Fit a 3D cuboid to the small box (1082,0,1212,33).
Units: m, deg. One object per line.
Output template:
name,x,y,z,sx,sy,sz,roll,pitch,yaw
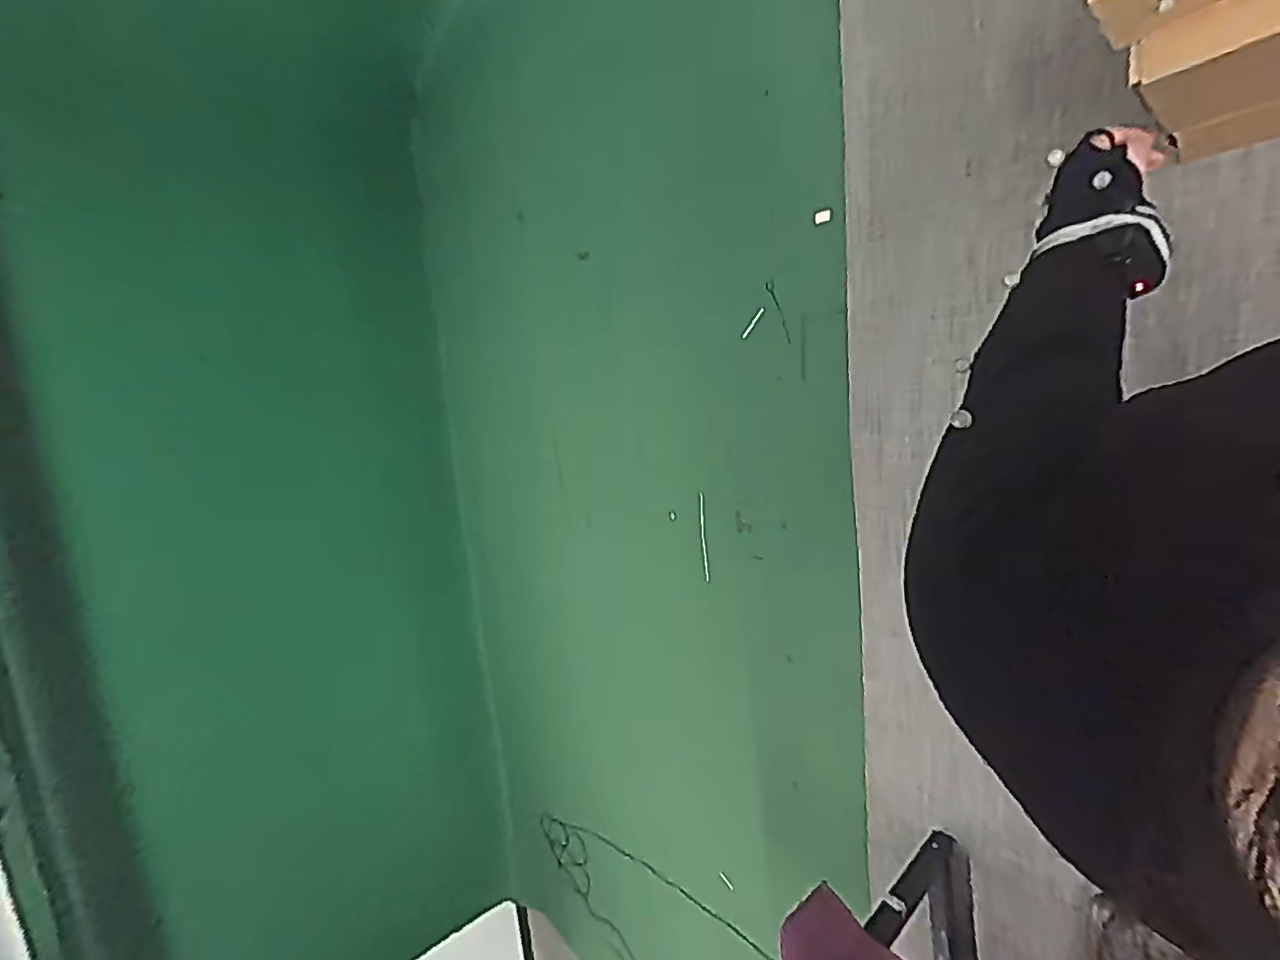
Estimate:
small box,0.634,-0.662,0.620,0.168,0.176,0.179,6,104,49
